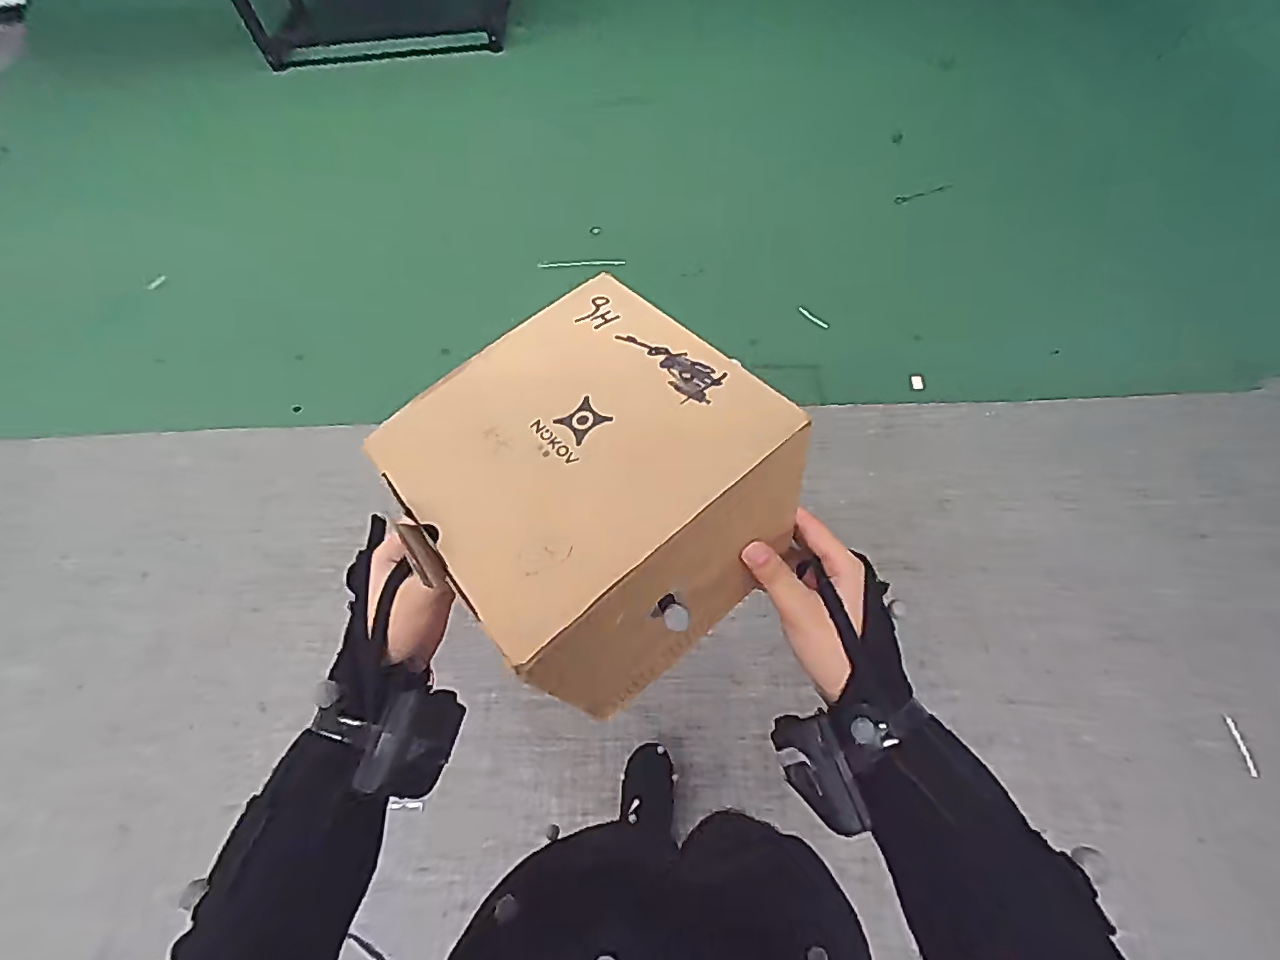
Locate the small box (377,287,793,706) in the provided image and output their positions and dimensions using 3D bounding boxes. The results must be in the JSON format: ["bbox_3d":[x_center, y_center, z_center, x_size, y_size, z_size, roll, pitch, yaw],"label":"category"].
[{"bbox_3d":[-0.022,0.019,0.353,0.179,0.176,0.168,-39,60,-12],"label":"small box"}]
